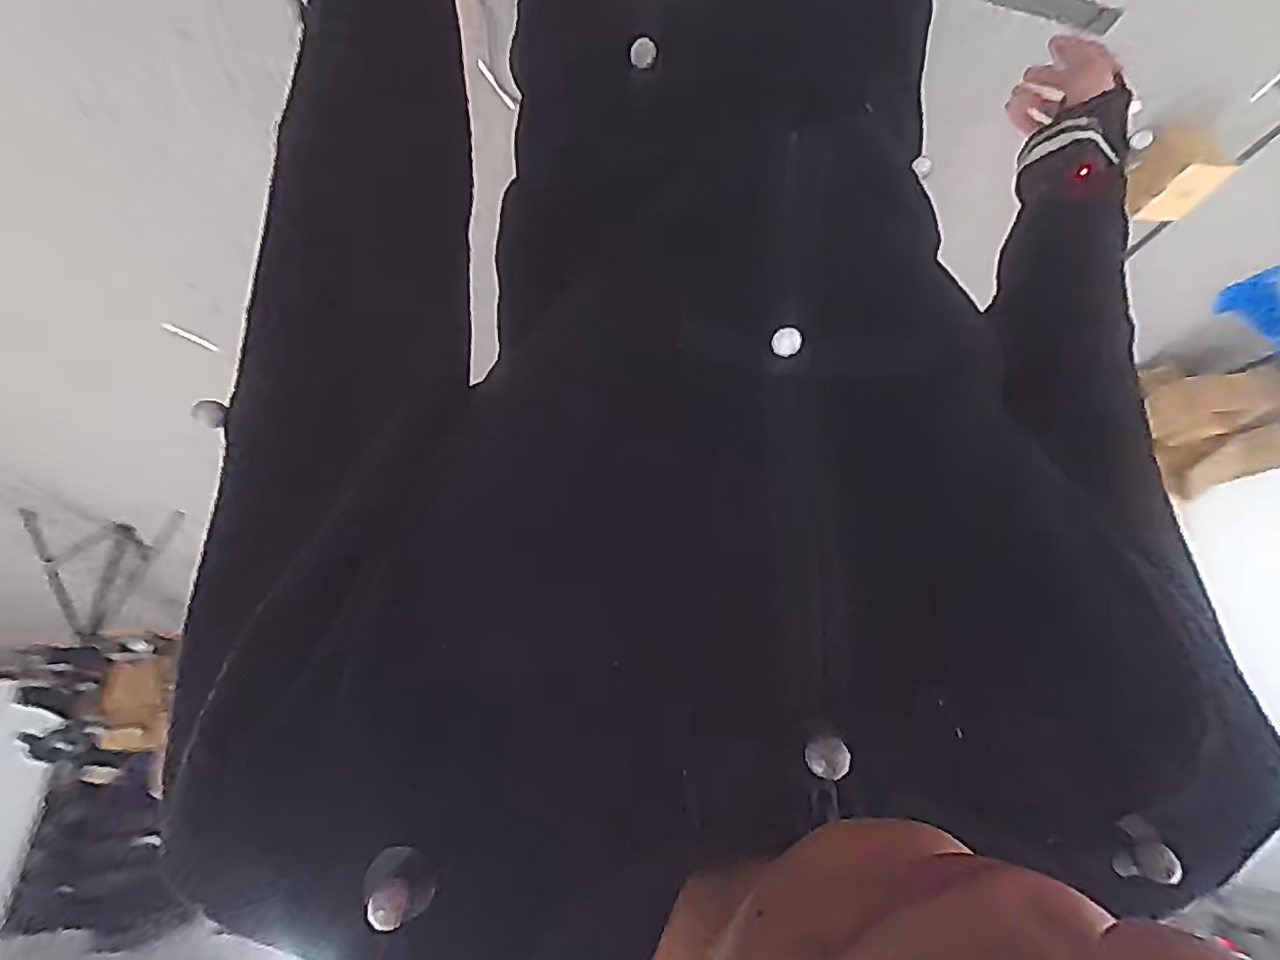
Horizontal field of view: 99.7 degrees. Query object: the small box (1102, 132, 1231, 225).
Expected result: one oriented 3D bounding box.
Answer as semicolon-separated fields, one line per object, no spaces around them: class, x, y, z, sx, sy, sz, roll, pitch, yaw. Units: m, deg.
small box;1.494;-0.861;1.545;0.179;0.176;0.168;-1;153;-12
